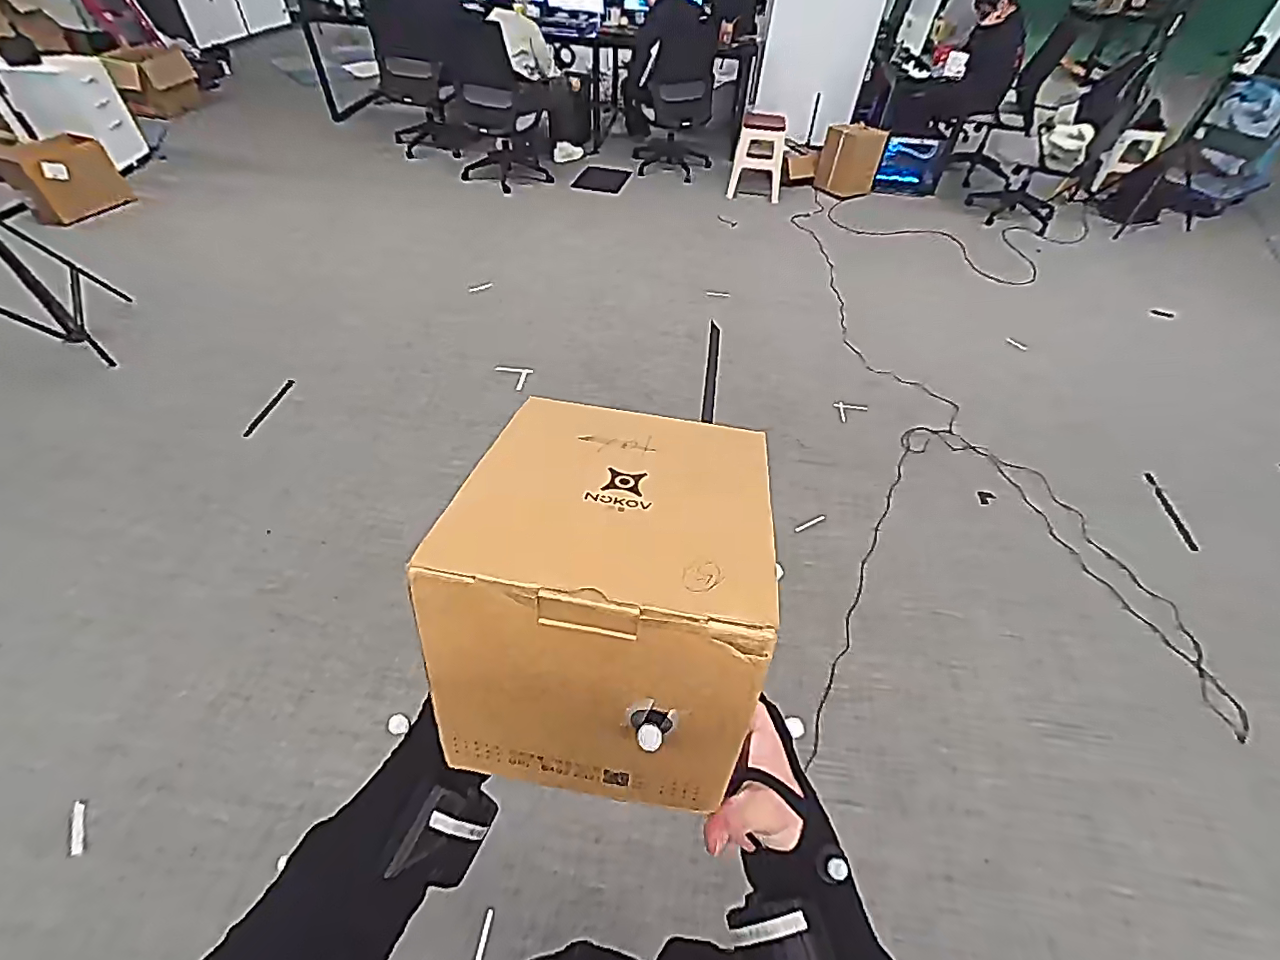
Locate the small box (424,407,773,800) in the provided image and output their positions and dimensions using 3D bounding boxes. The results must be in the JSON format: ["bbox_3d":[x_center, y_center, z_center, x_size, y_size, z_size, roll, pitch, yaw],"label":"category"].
[{"bbox_3d":[-0.016,0.074,0.356,0.168,0.176,0.179,10,34,3],"label":"small box"}]
